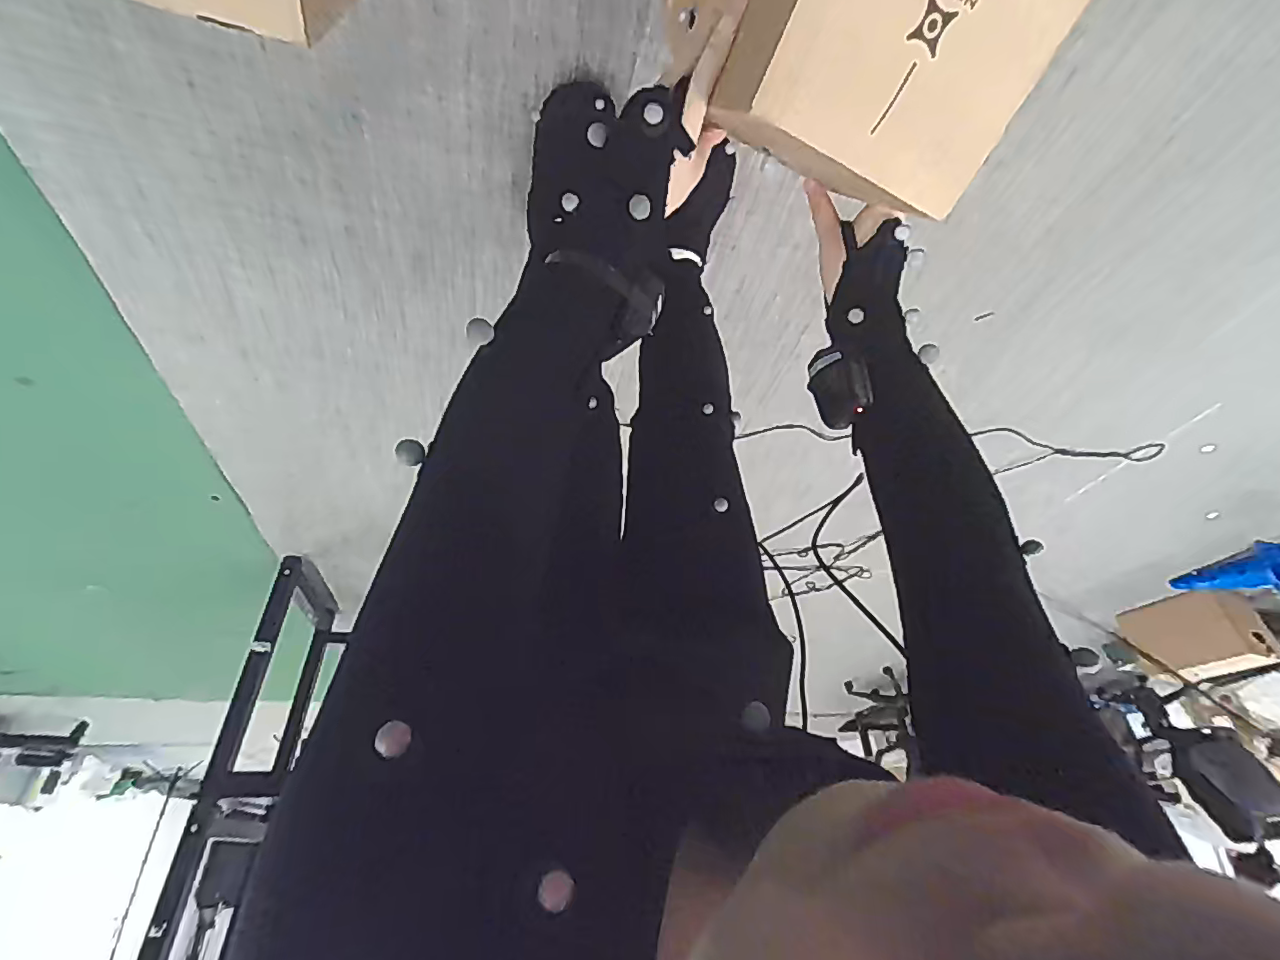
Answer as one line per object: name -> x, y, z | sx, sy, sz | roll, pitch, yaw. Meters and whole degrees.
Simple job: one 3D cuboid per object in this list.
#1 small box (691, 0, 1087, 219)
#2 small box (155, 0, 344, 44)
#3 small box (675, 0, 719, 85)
small box -> 0.152, -0.309, 0.363 | 0.168, 0.176, 0.179 | 14, 121, -21
small box -> -0.253, -0.383, 0.281 | 0.168, 0.176, 0.179 | 8, 144, -12
small box -> 0.138, -0.454, 0.488 | 0.168, 0.176, 0.179 | 11, 143, -19
